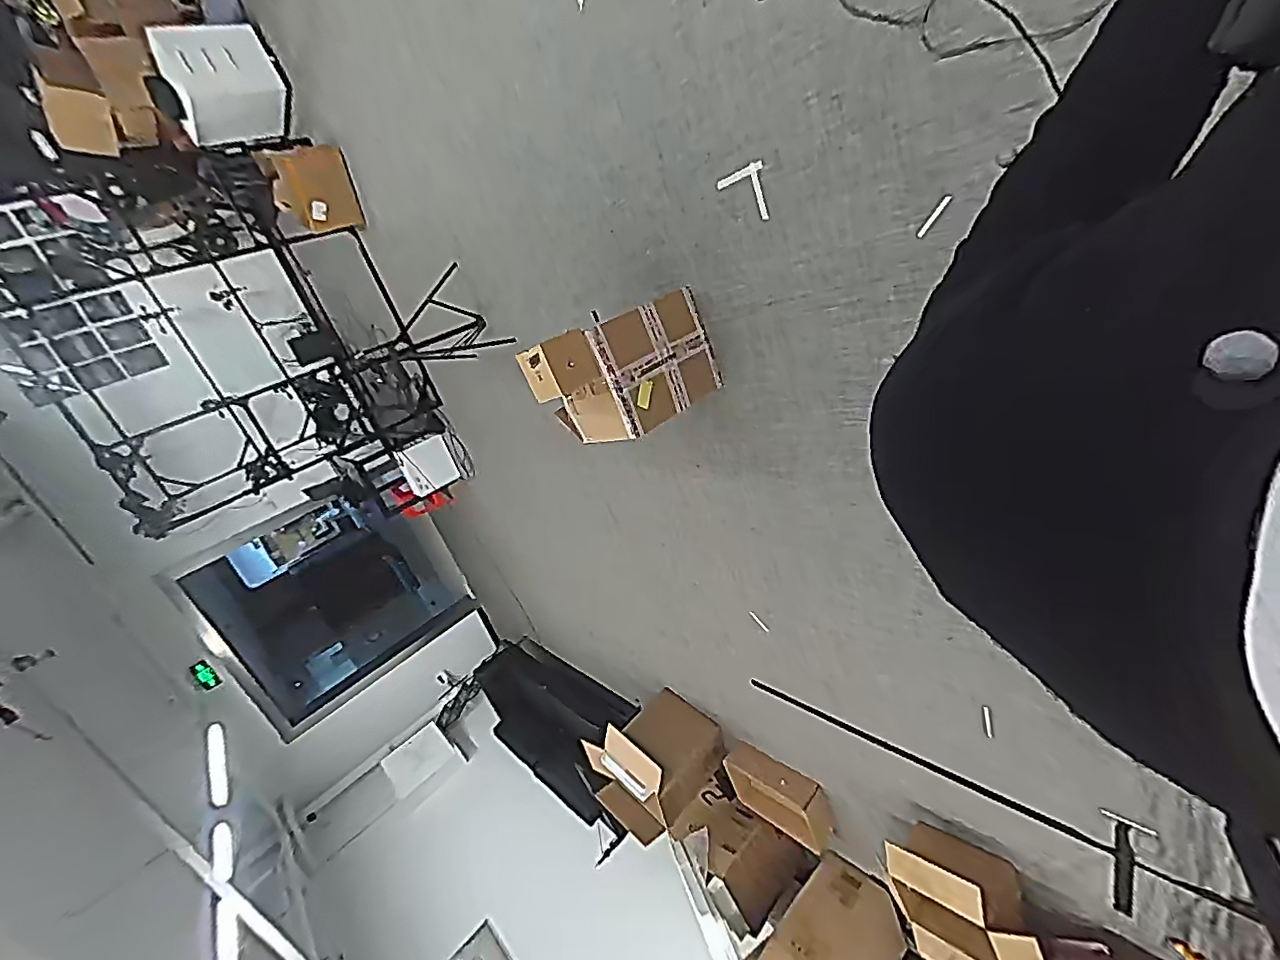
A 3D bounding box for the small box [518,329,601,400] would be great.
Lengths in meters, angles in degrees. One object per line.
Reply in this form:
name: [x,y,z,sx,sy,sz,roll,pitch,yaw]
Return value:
small box: [-0.261,-0.381,1.769,0.168,0.176,0.179,-4,115,51]
